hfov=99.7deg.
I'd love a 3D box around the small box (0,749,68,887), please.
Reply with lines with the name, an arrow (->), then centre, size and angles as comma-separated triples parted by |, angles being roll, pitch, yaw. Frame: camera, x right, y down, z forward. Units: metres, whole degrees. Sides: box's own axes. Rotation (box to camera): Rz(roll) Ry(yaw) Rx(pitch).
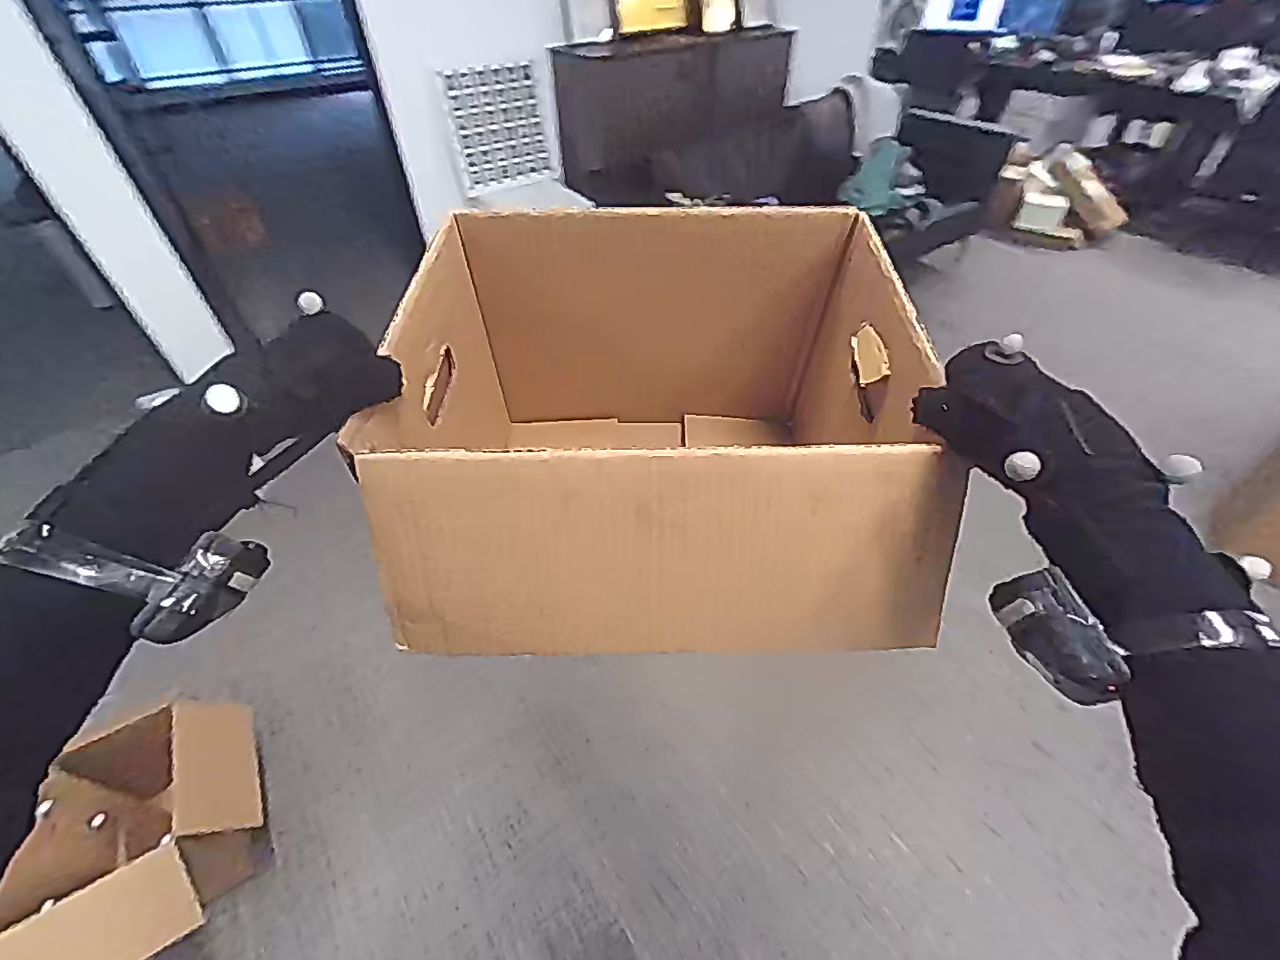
small box -> -1.130, 0.589, 0.899 | 0.179, 0.176, 0.168 | -26, 52, -20
